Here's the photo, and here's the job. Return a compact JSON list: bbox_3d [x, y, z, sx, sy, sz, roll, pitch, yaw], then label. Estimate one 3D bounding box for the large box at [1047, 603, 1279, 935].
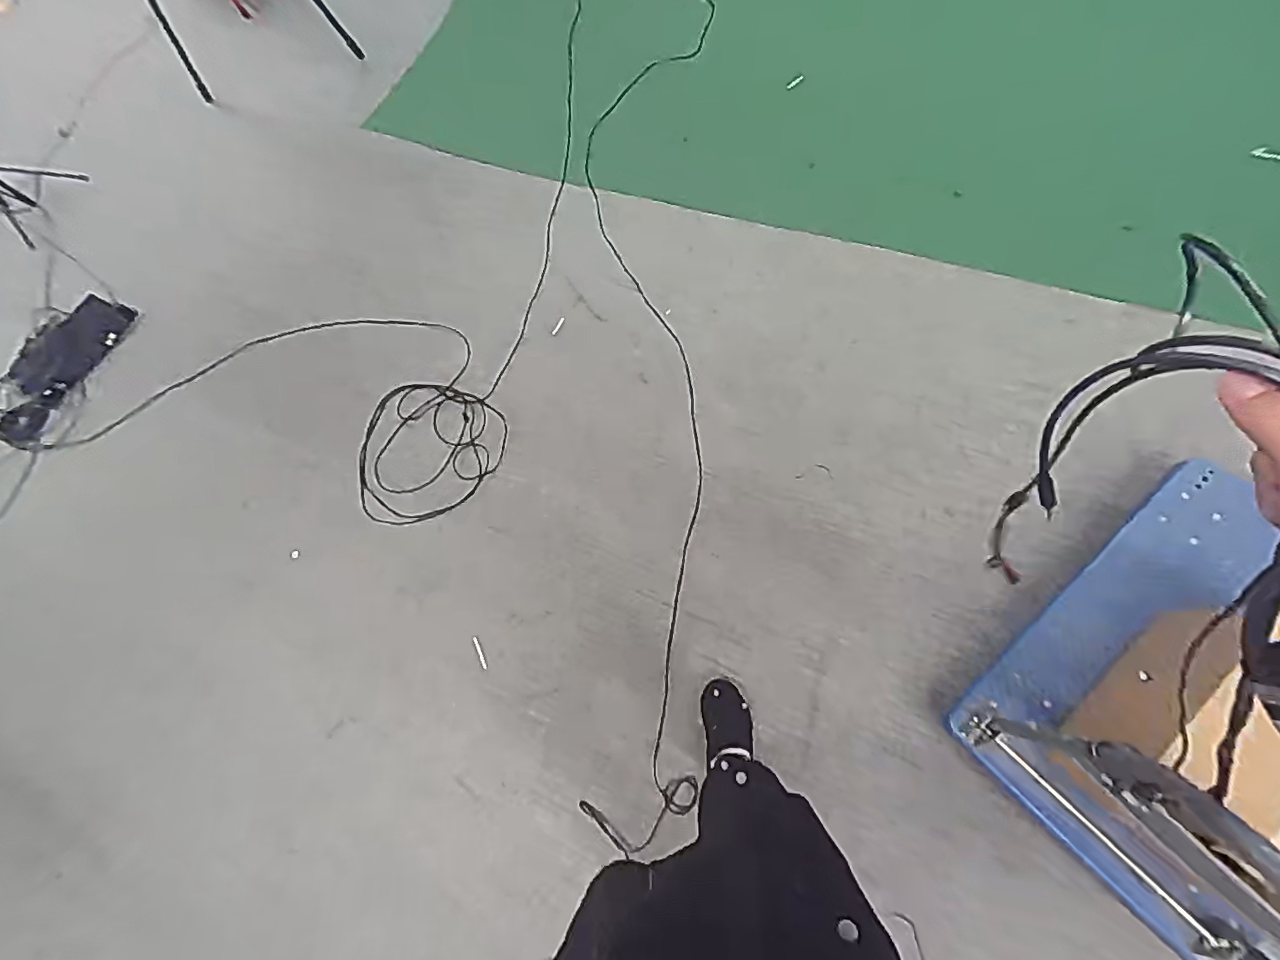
[{"bbox_3d":[1.028,0.477,0.922,0.408,0.320,0.320,-42,69,-7],"label":"large box"}]
